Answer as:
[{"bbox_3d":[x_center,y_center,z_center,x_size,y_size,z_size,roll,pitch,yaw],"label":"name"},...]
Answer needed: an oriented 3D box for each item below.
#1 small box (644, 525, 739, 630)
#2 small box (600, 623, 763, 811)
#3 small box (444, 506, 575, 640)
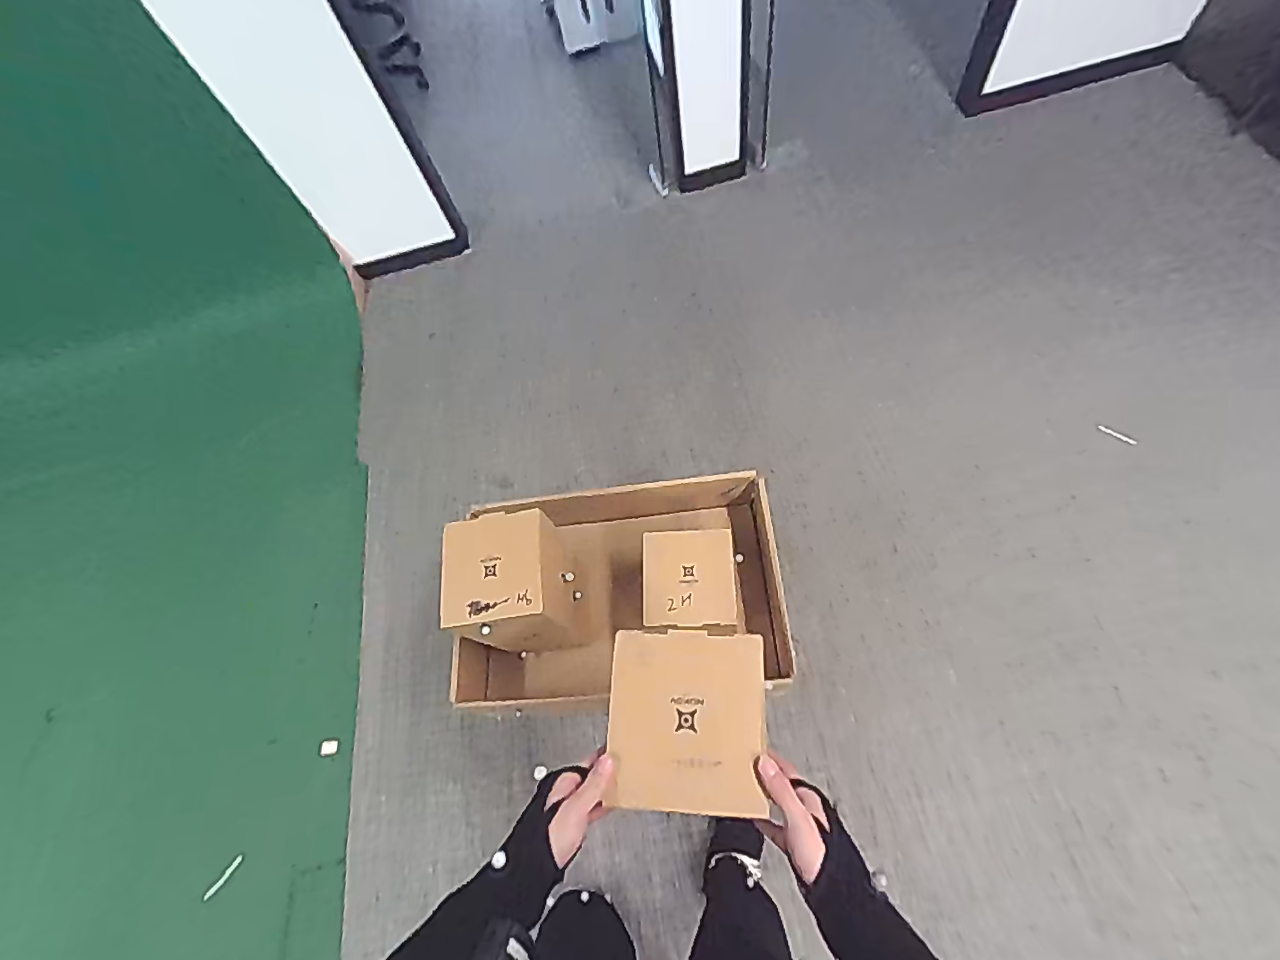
[{"bbox_3d":[0.103,0.199,1.043,0.168,0.176,0.179,-4,65,10],"label":"small box"},{"bbox_3d":[0.056,0.281,0.646,0.168,0.176,0.179,0,64,9],"label":"small box"},{"bbox_3d":[-0.218,0.167,0.939,0.168,0.176,0.179,-11,64,8],"label":"small box"}]
